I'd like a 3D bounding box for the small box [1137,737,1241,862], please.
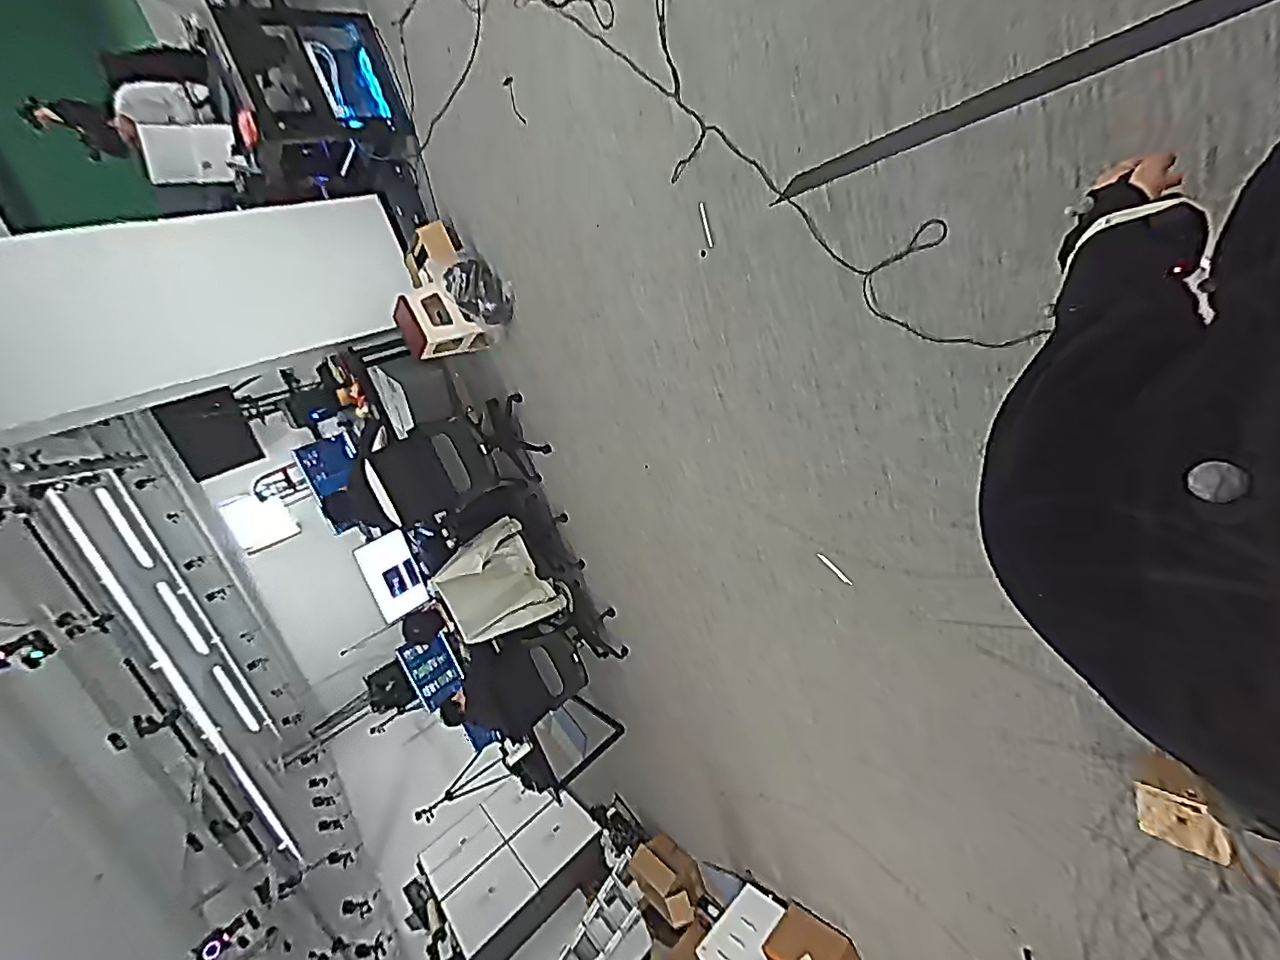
[{"bbox_3d":[1.399,0.802,1.377,0.168,0.176,0.179,4,119,53],"label":"small box"}]
